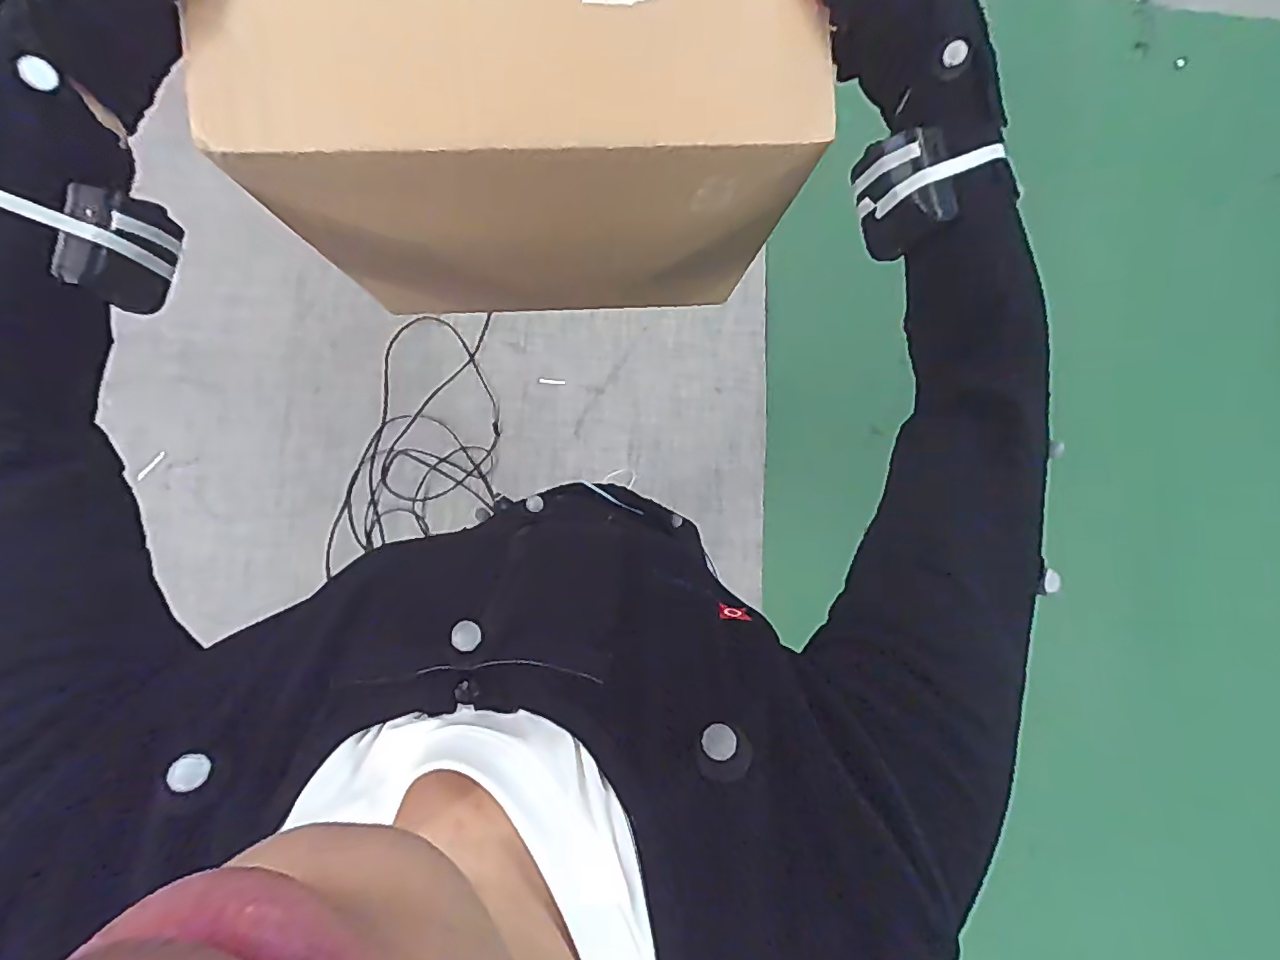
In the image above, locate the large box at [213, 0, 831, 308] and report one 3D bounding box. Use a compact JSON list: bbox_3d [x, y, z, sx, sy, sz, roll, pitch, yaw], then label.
[{"bbox_3d":[-0.090,-0.369,0.507,0.408,0.320,0.320,-3,89,-6],"label":"large box"}]
